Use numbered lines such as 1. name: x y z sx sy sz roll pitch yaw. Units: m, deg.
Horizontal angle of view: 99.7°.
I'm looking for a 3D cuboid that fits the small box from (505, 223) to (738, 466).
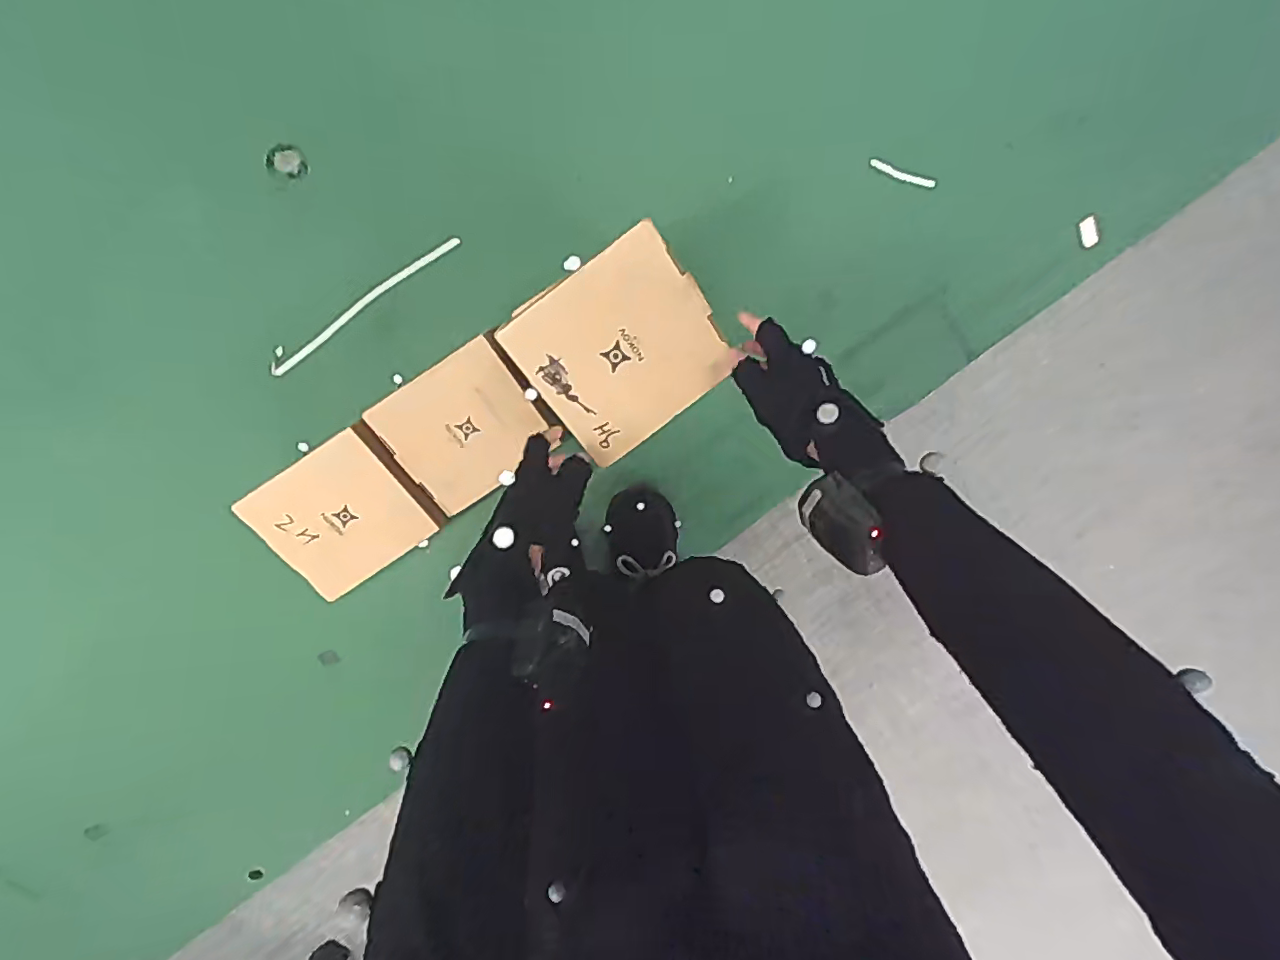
1. small box: -0.030 -0.148 0.588 0.179 0.176 0.168 -36 112 1
